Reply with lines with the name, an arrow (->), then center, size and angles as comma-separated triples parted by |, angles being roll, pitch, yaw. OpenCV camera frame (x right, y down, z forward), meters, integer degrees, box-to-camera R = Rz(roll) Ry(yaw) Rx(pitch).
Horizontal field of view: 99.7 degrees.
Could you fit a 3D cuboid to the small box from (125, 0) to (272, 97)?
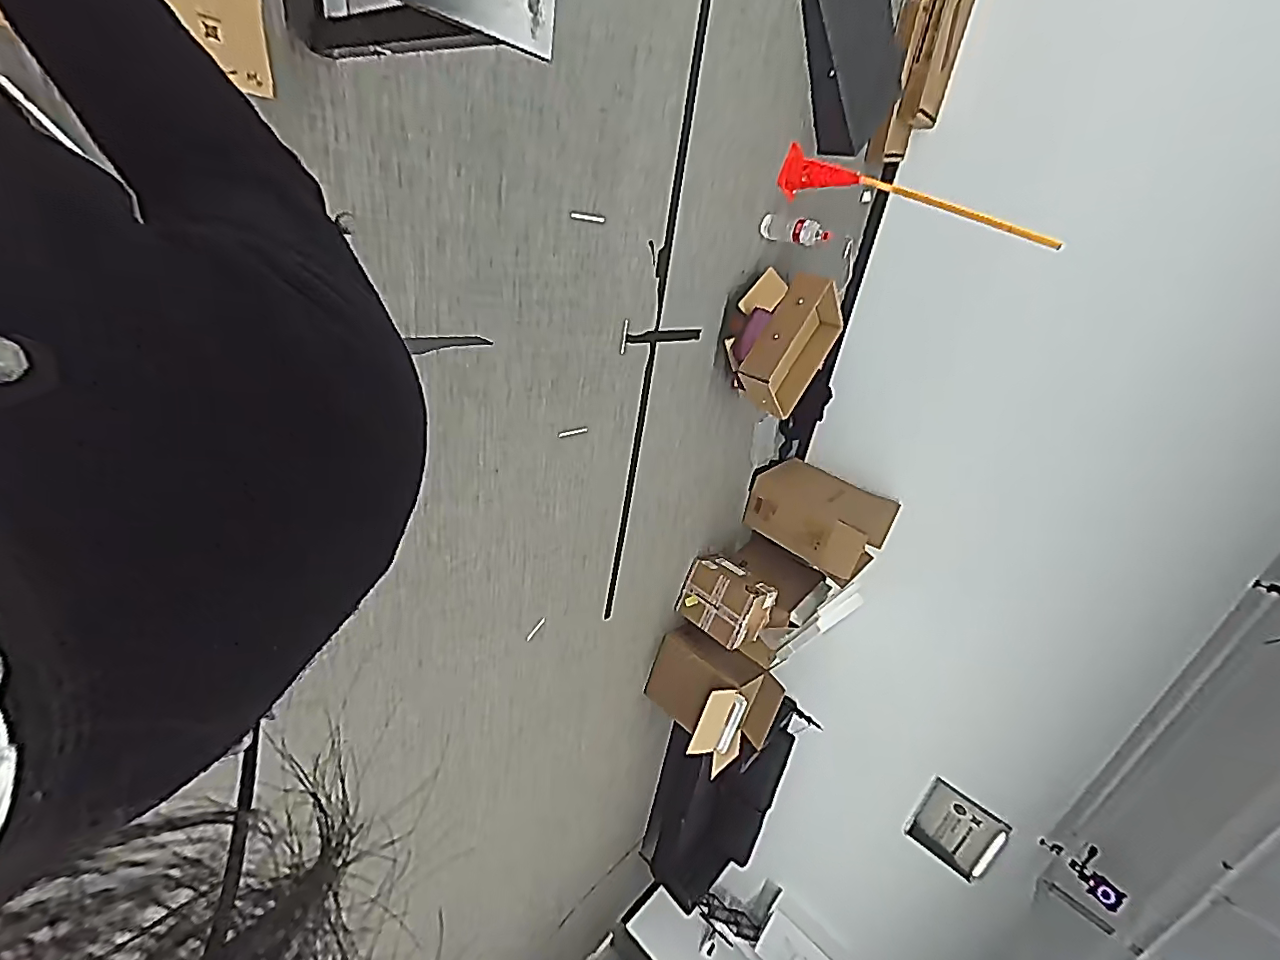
small box -> -0.784, -0.803, 0.956 | 0.168, 0.176, 0.179 | -19, 128, -44
